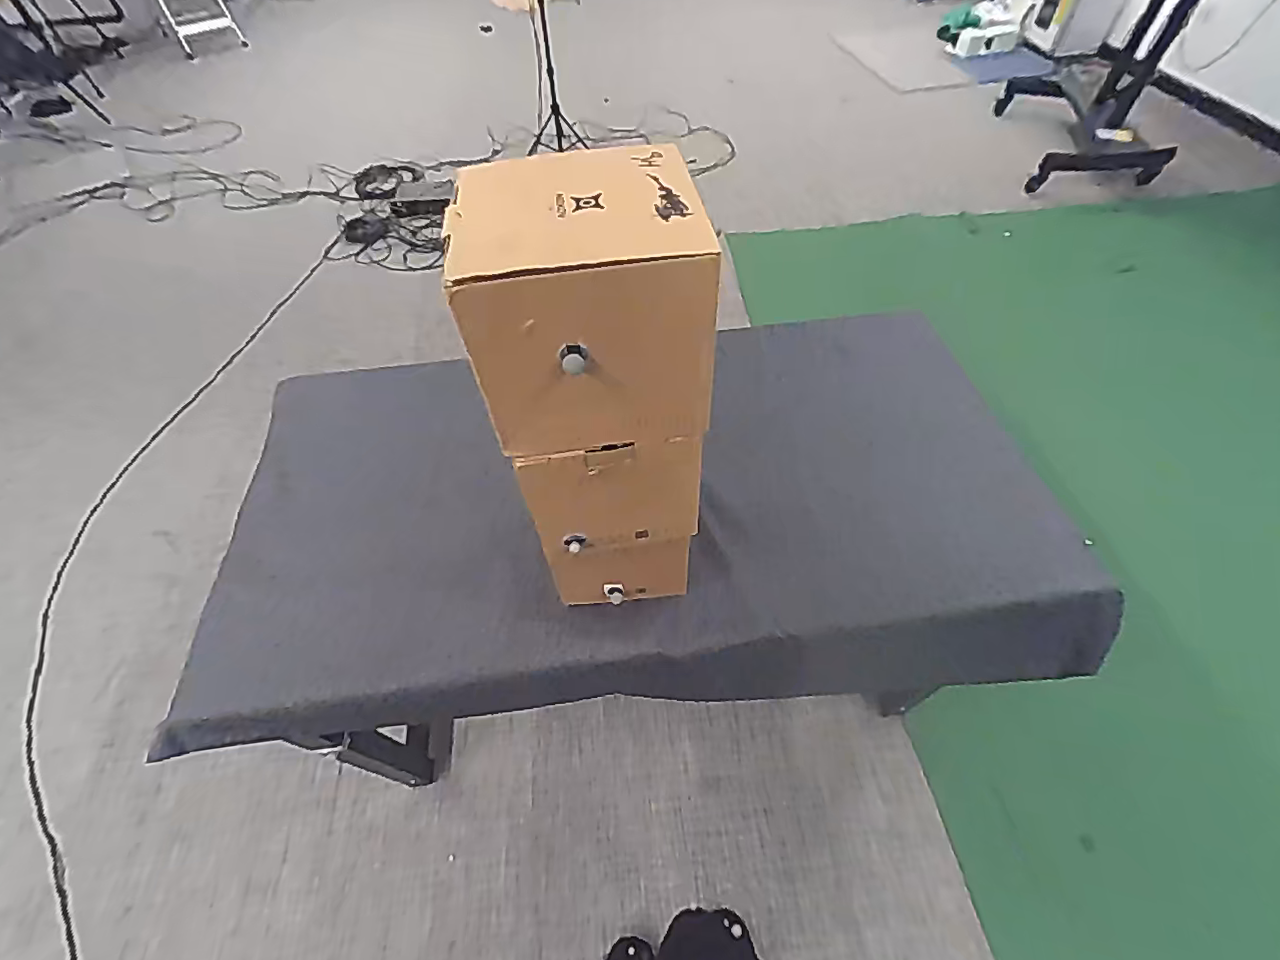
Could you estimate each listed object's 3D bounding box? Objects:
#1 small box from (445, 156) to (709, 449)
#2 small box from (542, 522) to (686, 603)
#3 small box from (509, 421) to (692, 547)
[{"bbox_3d":[-0.047,-0.144,0.457,0.179,0.176,0.168,-10,51,-5],"label":"small box"},{"bbox_3d":[-0.035,0.044,0.723,0.168,0.176,0.179,-7,54,-2],"label":"small box"},{"bbox_3d":[-0.044,-0.044,0.584,0.168,0.176,0.179,-12,54,-5],"label":"small box"}]
